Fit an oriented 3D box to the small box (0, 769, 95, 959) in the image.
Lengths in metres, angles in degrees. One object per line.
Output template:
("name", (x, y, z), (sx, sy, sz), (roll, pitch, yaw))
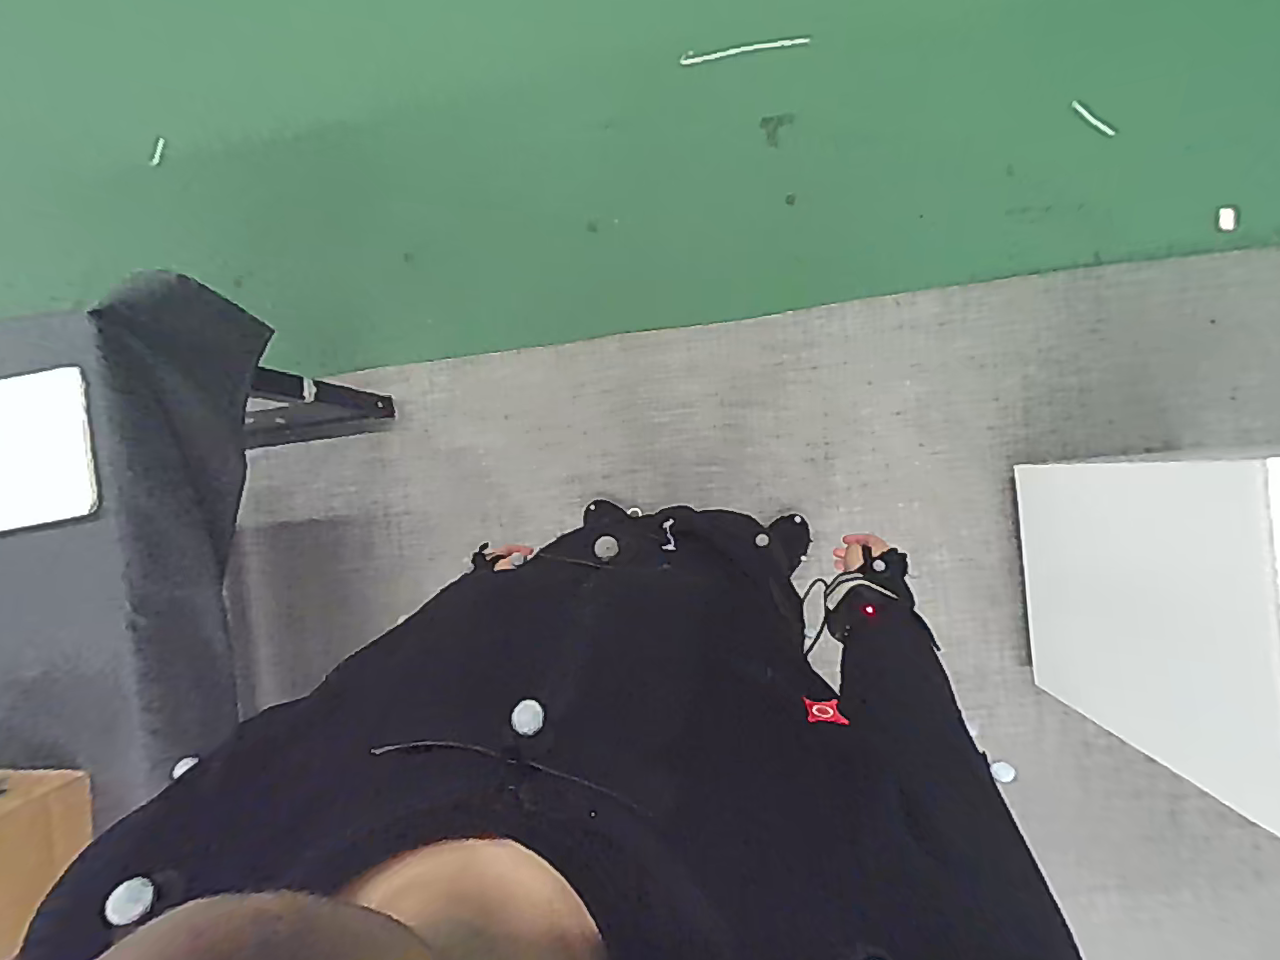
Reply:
("small box", (-0.812, 0.480, 0.648), (0.168, 0.176, 0.179), (-3, 90, 7))
